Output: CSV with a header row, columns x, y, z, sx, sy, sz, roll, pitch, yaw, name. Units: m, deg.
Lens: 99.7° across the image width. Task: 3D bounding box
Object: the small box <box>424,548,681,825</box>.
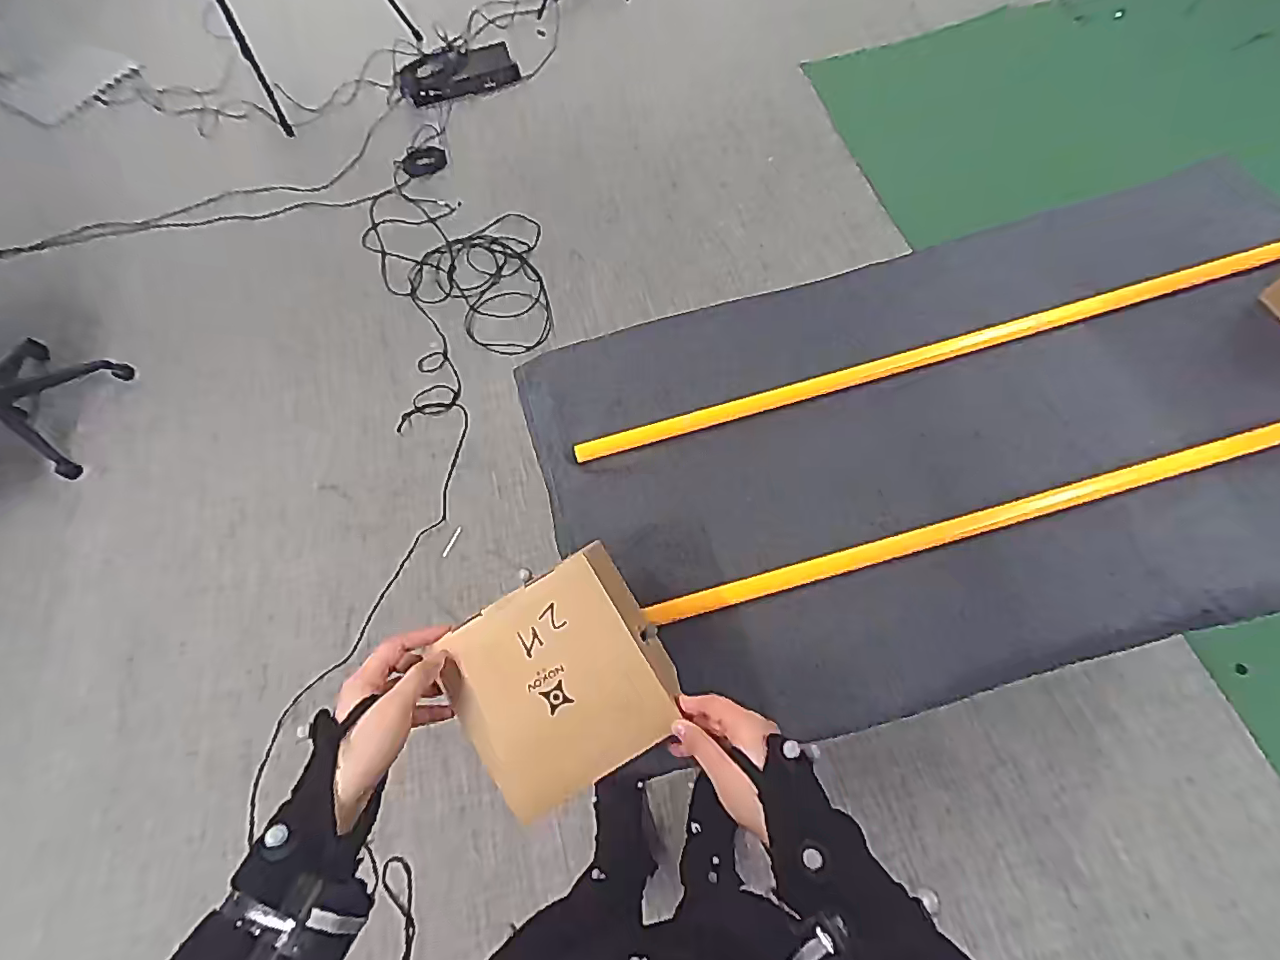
x,y,z,sx,sy,sz,roll,pitch,yaw,name
-0.074,0.184,0.542,0.168,0.176,0.179,-31,87,-2,small box
